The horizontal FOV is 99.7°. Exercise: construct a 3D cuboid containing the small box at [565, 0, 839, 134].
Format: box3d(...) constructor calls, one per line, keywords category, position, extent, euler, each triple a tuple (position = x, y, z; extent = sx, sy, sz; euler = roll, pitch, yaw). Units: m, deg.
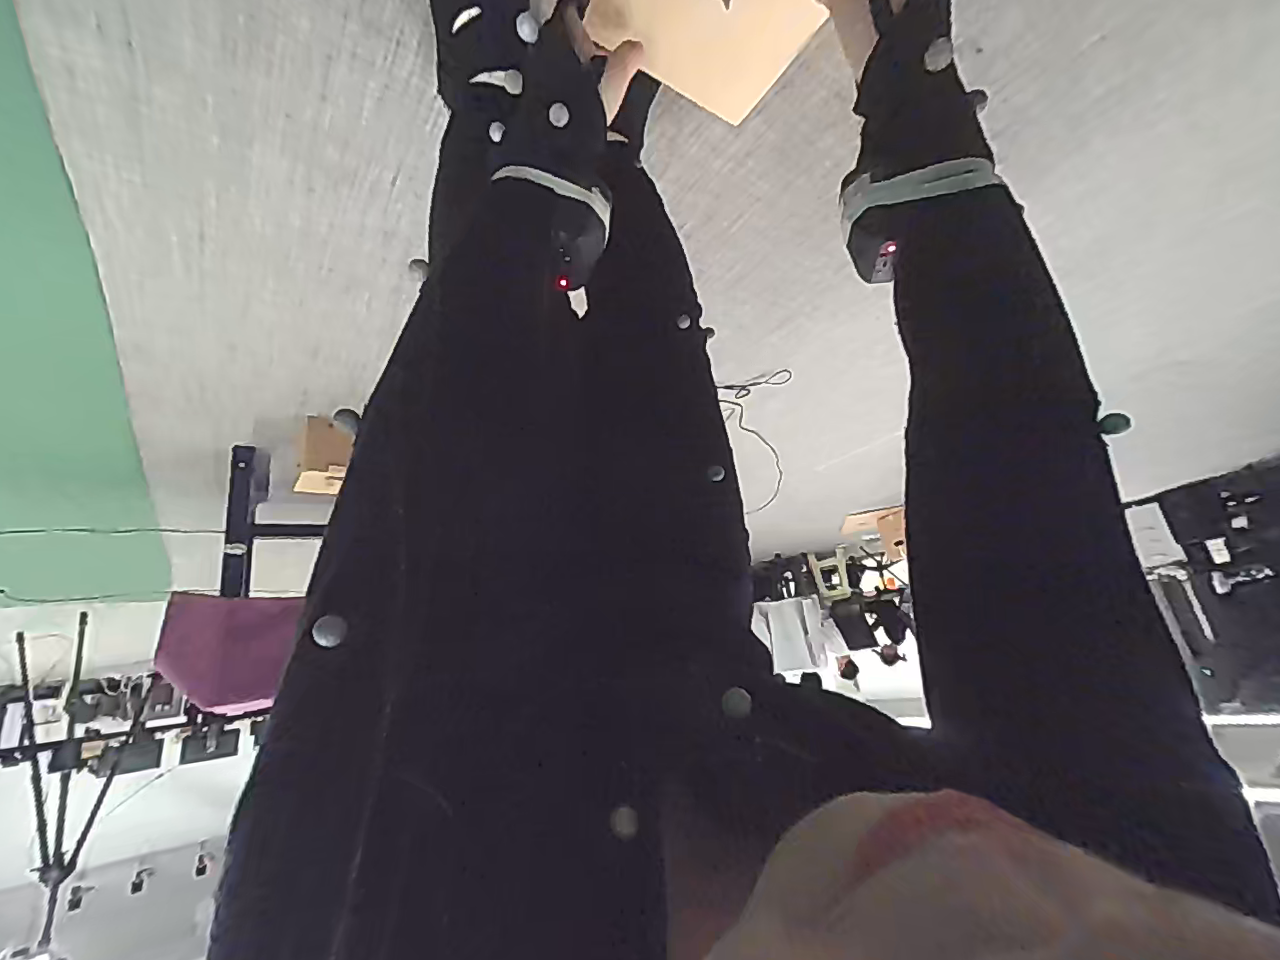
box3d(category="small box", position=(0.050, -0.431, 0.418), extent=(0.168, 0.176, 0.179), euler=(6, 157, -33))
